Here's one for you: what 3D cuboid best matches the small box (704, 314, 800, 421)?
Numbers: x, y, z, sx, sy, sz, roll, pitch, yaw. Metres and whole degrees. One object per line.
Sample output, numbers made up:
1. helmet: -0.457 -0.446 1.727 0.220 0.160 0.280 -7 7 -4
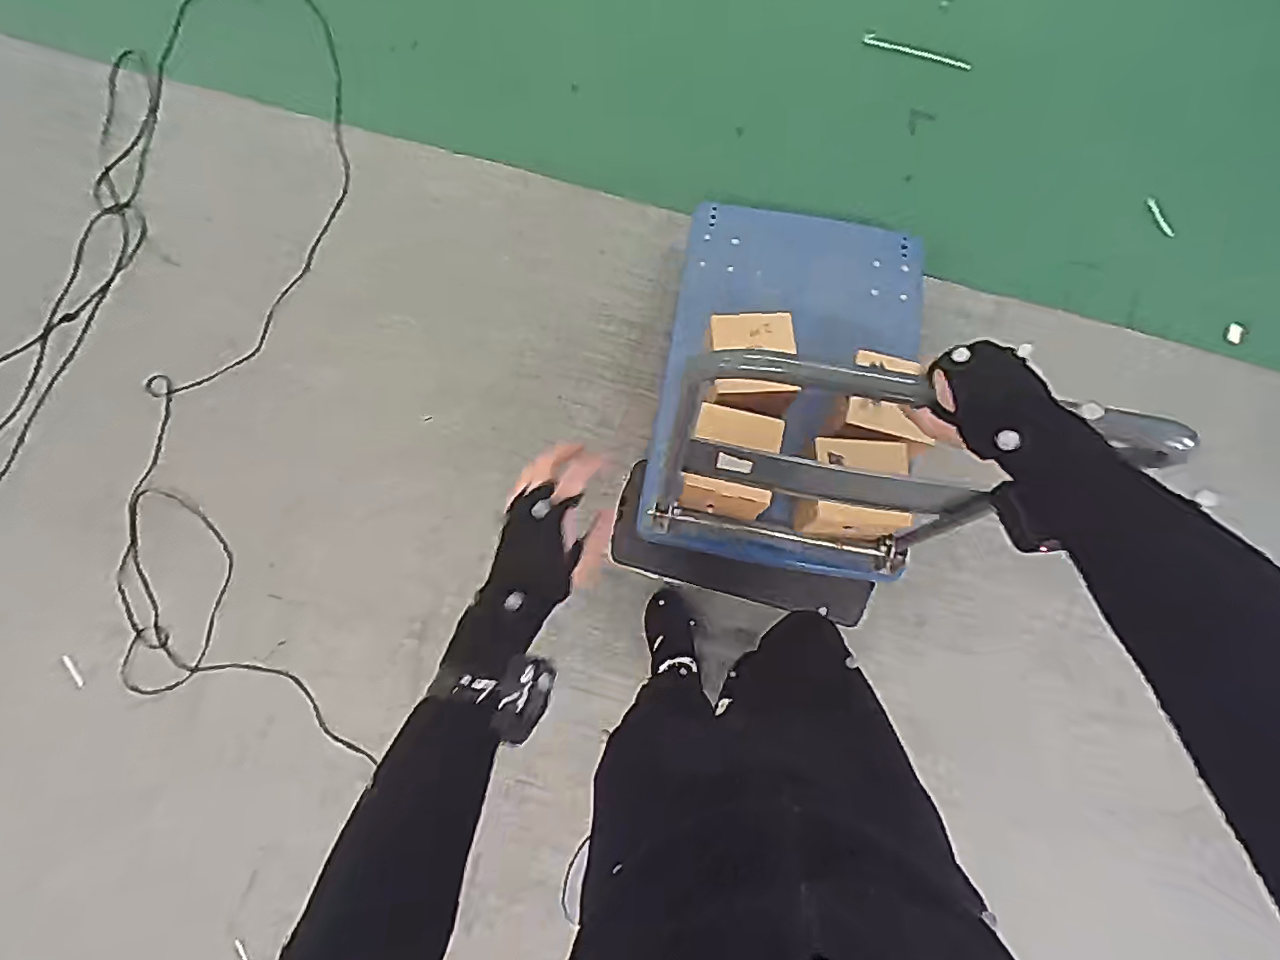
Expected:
1. small box: 0.231 -0.232 1.154 0.168 0.176 0.179 -1 75 -2
